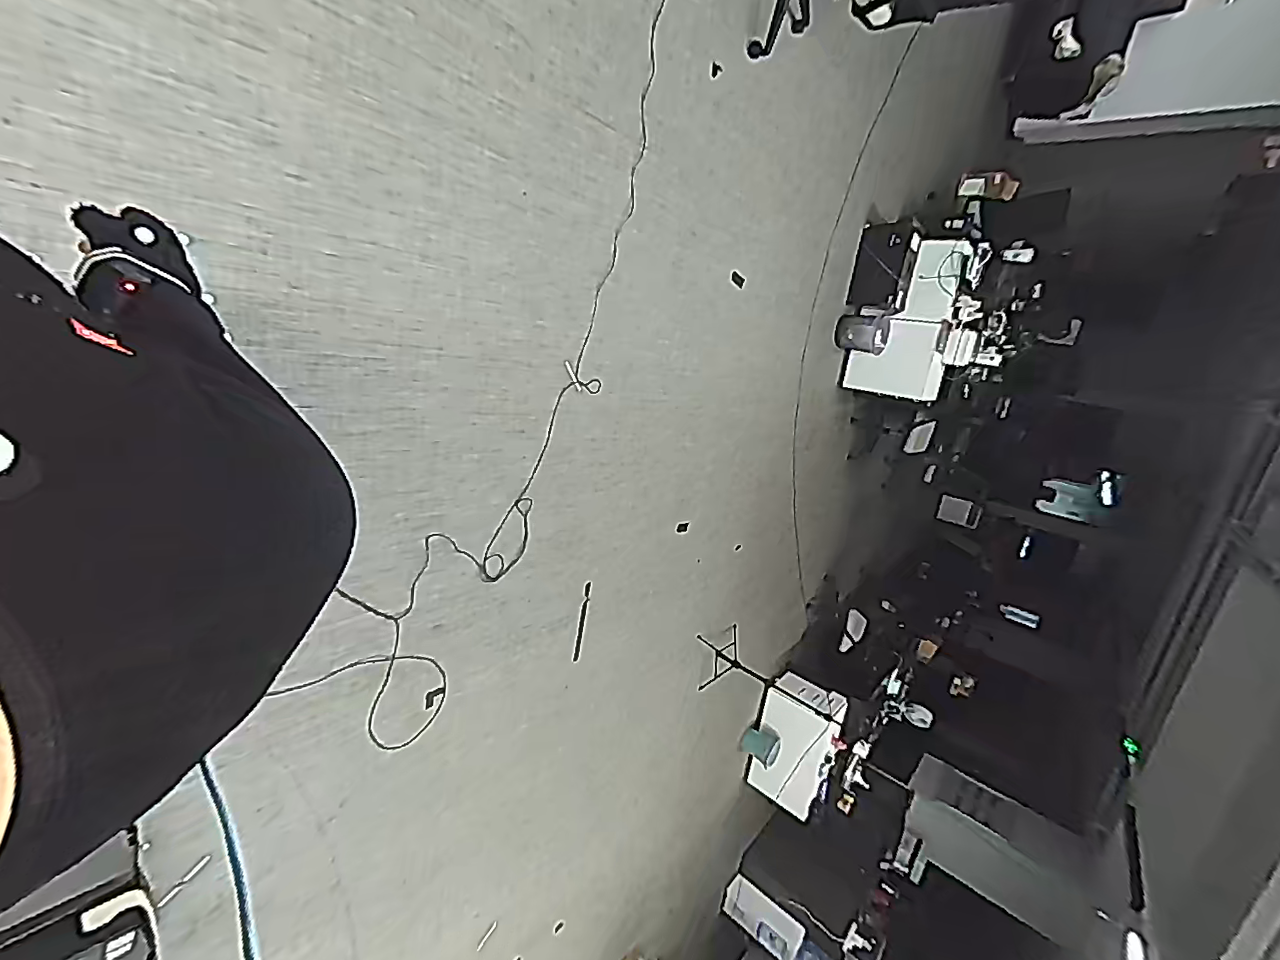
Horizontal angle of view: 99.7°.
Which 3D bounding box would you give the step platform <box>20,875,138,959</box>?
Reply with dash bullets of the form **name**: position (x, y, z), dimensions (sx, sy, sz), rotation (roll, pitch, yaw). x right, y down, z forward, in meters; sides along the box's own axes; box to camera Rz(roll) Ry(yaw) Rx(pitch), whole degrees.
- **step platform**: position (-1.454, 1.149, 1.064), dimensions (0.684, 0.204, 0.286), rotation (-11, 114, -48)
